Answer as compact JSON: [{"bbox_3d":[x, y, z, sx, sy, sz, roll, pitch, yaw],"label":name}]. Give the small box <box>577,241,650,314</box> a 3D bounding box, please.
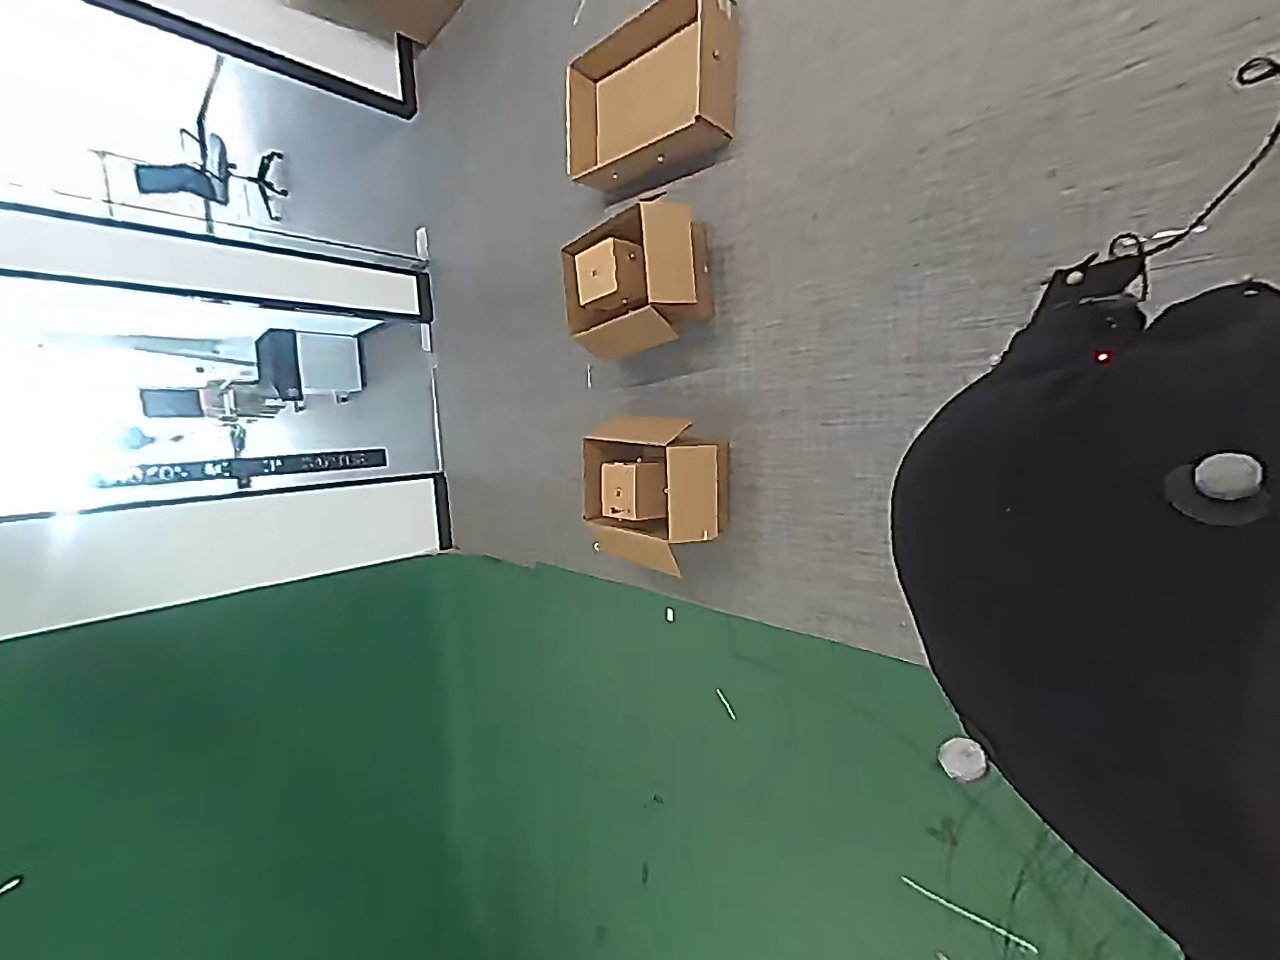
[{"bbox_3d":[-0.079,-0.650,1.754,0.179,0.176,0.168,-4,91,44],"label":"small box"}]
